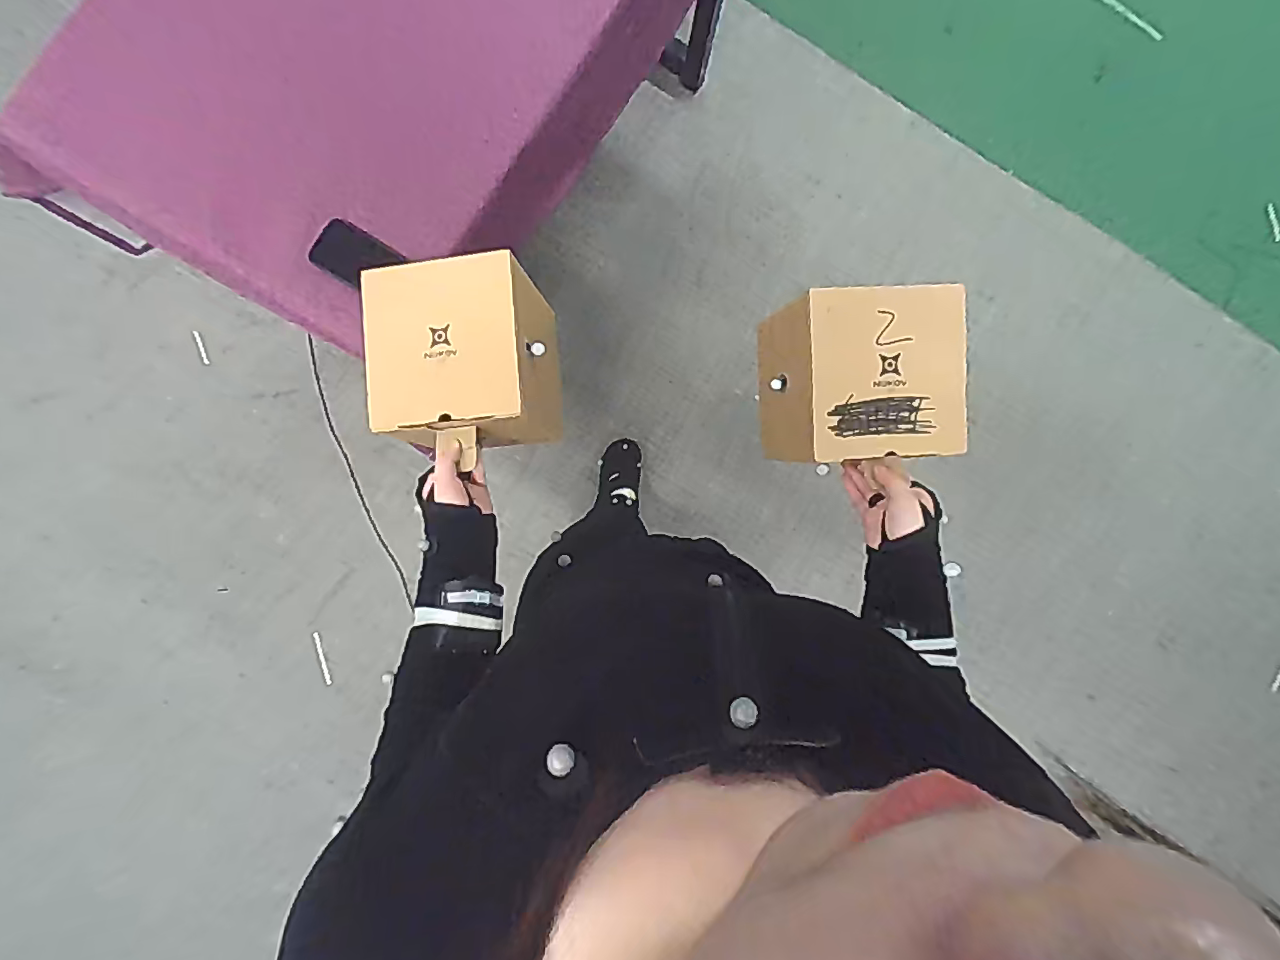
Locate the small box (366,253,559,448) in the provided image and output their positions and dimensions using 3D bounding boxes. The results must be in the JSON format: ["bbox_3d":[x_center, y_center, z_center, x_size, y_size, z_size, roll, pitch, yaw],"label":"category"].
[{"bbox_3d":[-0.200,-0.140,0.646,0.168,0.176,0.179,-5,86,6],"label":"small box"}]
